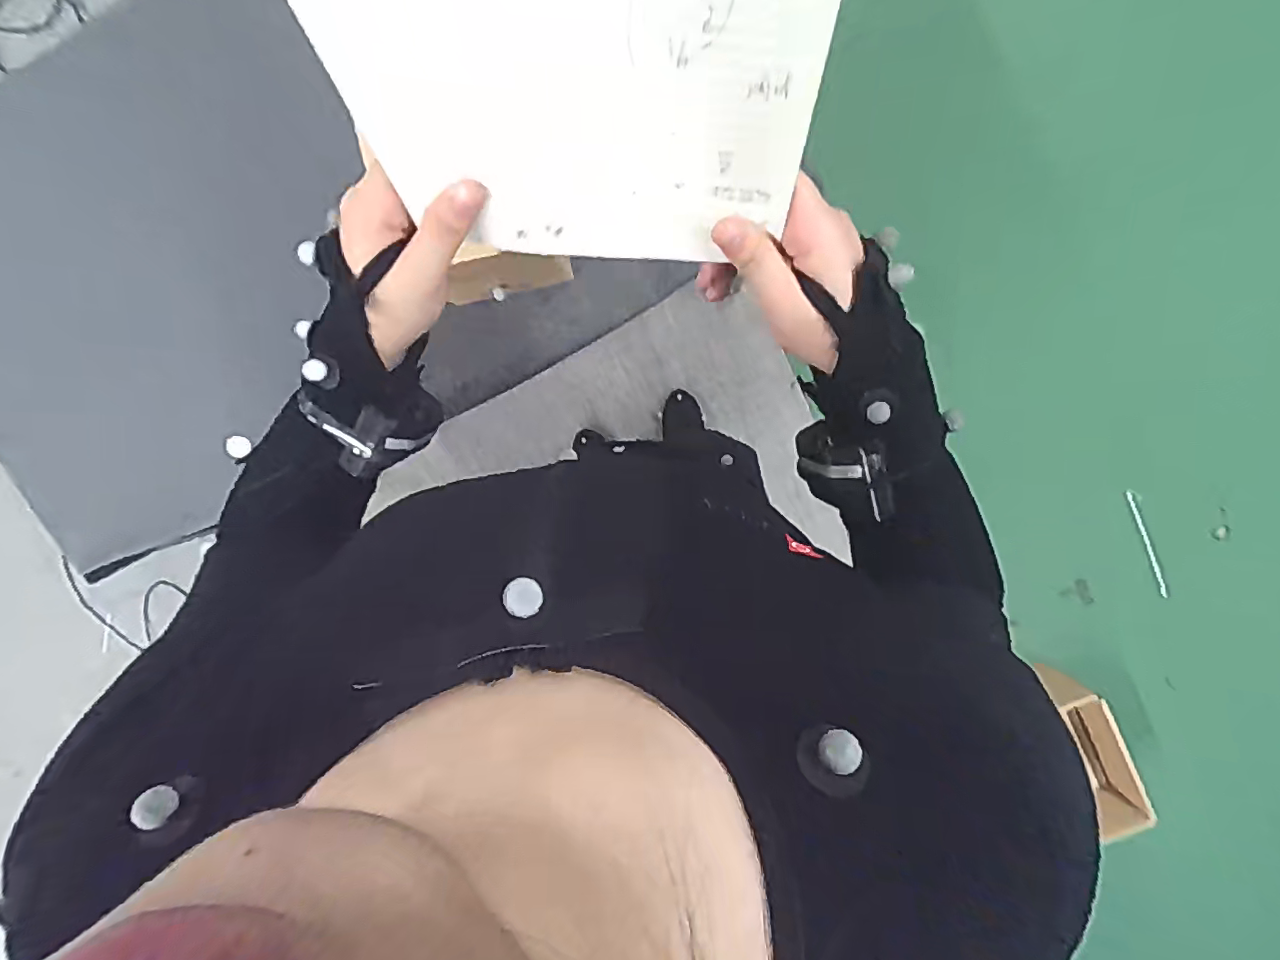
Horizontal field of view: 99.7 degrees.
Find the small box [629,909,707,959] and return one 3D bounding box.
[{"bbox_3d":[0.076,1.295,1.435,0.179,0.176,0.168,-23,96,8],"label":"small box"}]

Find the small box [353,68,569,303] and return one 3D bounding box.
[{"bbox_3d":[-0.191,-0.322,0.629,0.168,0.176,0.179,-10,98,6],"label":"small box"}]
